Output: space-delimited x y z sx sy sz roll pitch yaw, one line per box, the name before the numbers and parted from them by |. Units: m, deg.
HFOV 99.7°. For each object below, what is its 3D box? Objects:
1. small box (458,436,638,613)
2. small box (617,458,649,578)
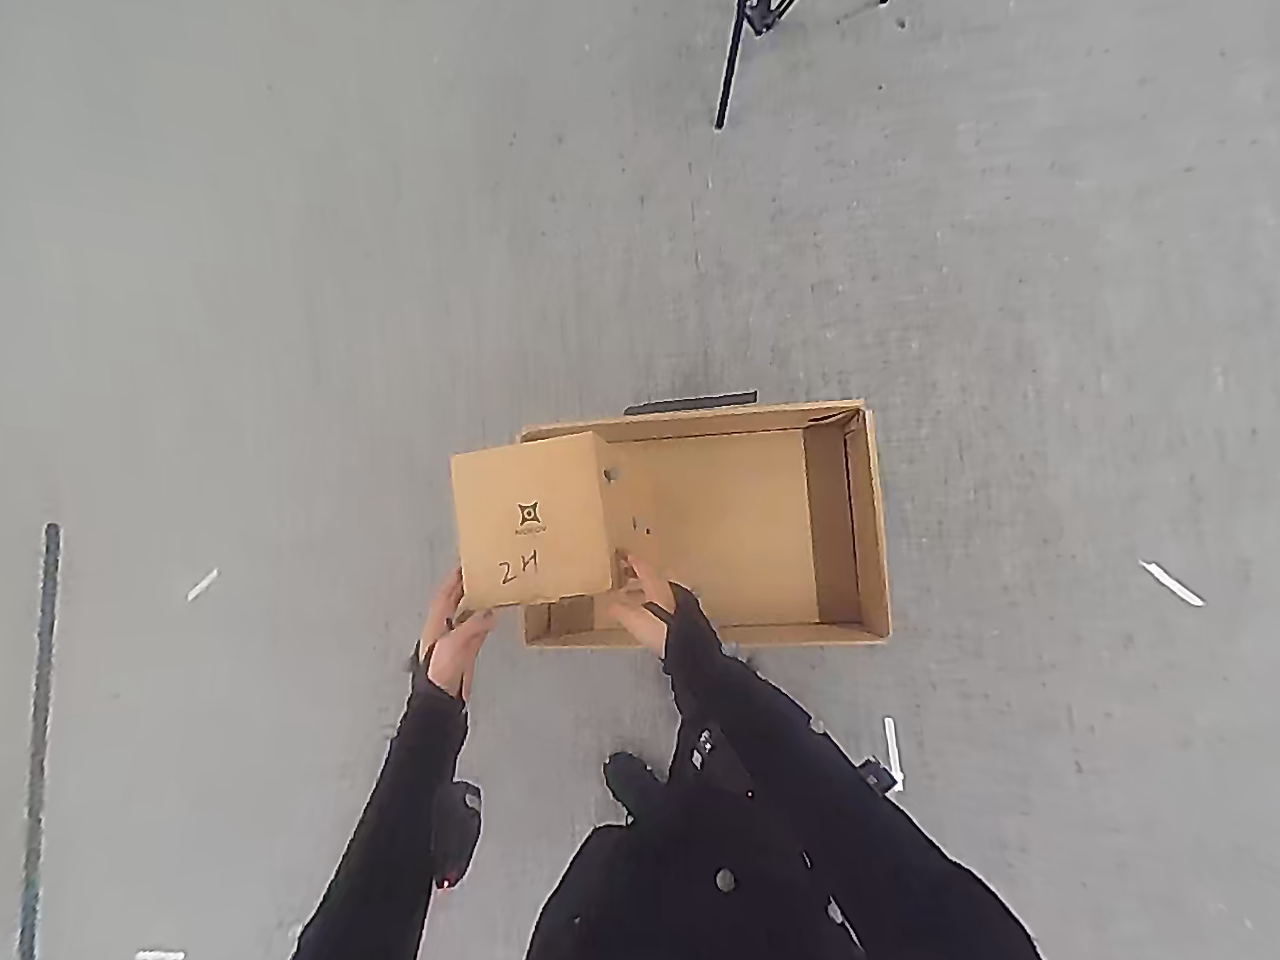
small box | -0.101 0.057 0.659 0.168 0.176 0.179 -9 83 7
small box | -0.080 0.069 0.821 0.168 0.176 0.179 -5 82 7
